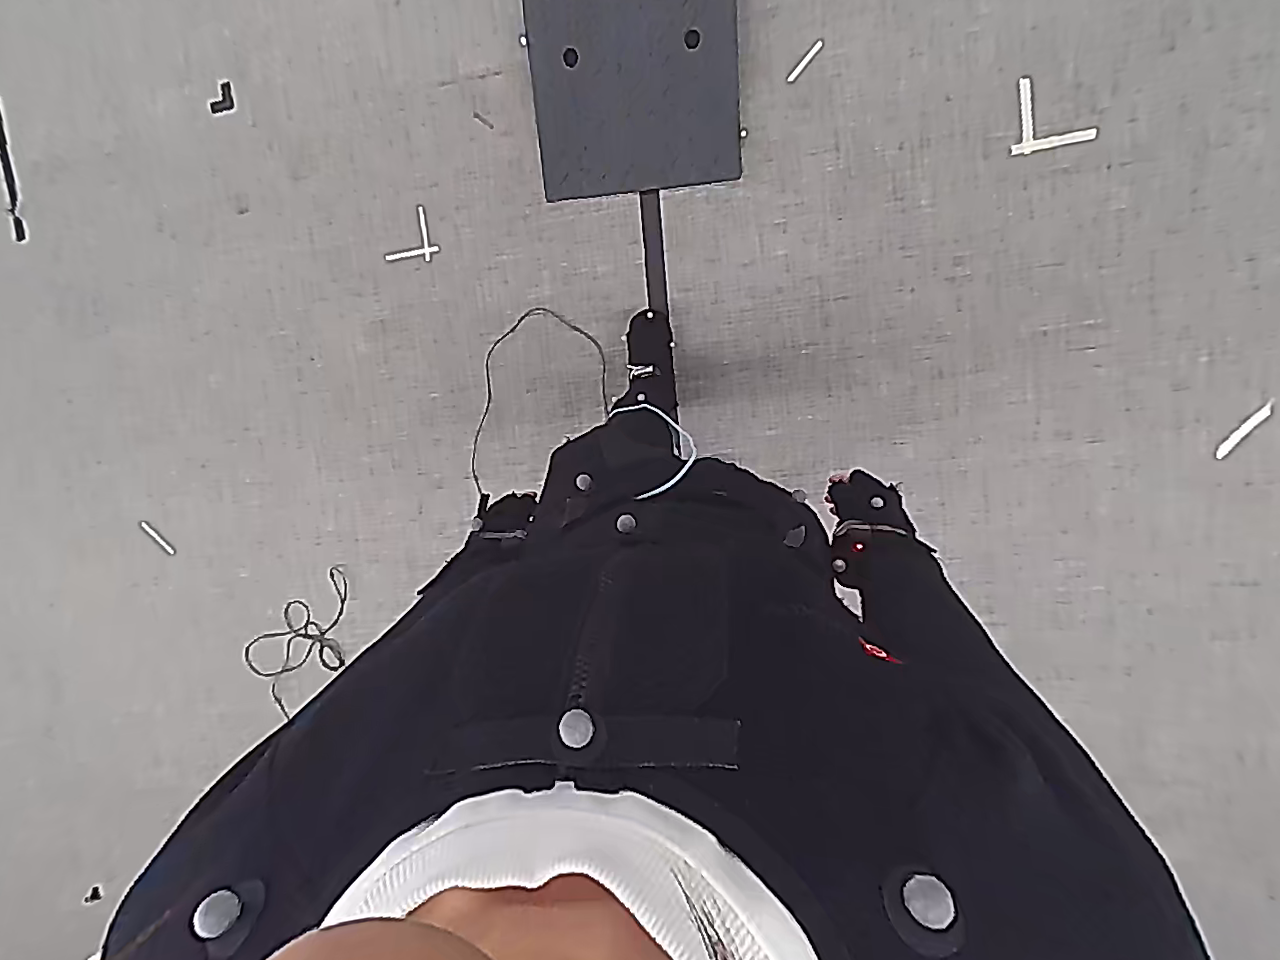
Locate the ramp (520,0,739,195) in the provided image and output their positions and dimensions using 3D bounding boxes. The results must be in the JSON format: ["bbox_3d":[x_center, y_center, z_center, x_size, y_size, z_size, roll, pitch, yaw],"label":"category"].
[{"bbox_3d":[-0.042,-1.203,1.183,0.509,0.206,0.991,-4,98,7],"label":"ramp"}]
